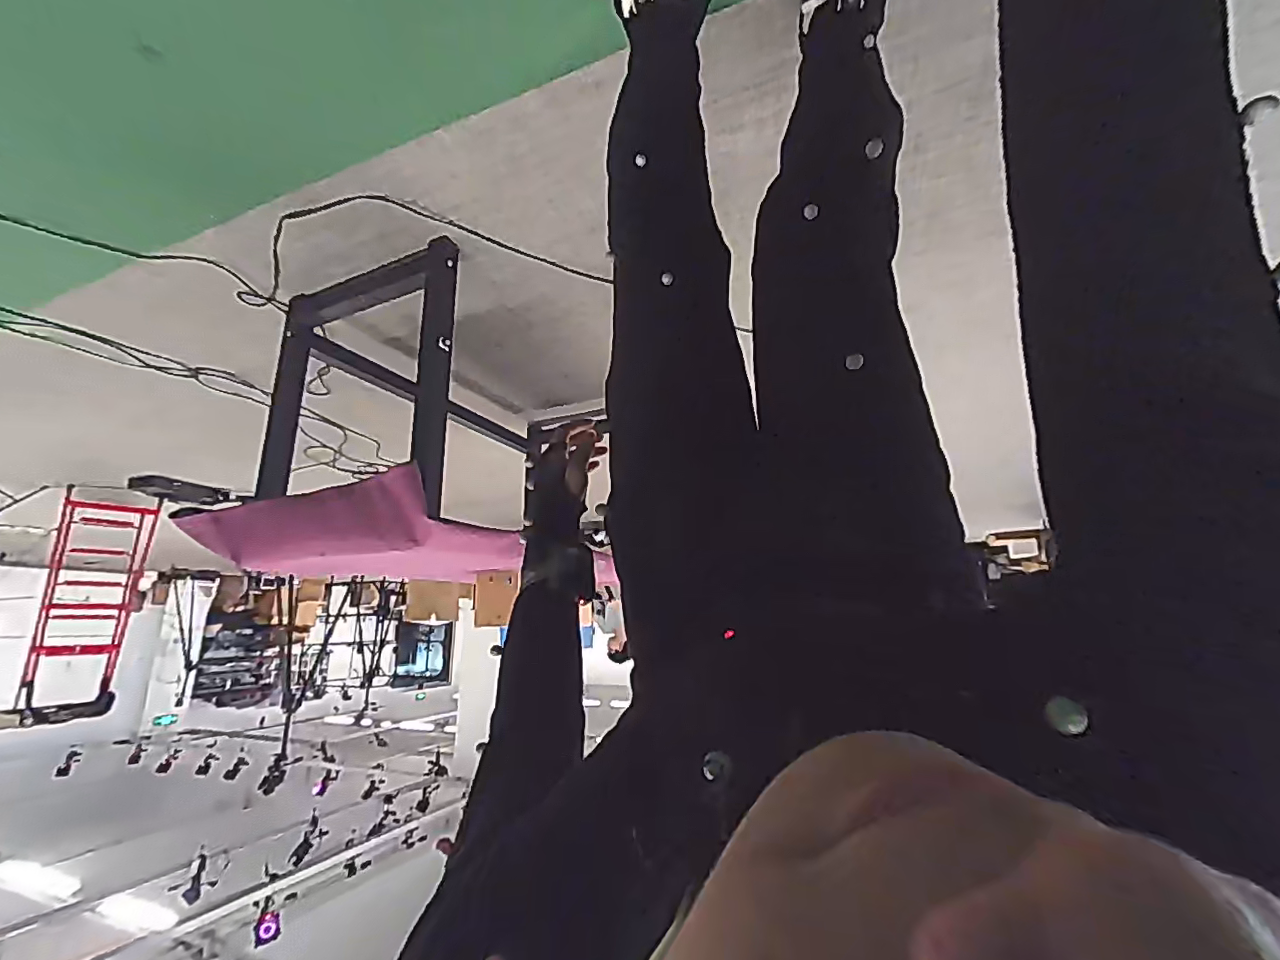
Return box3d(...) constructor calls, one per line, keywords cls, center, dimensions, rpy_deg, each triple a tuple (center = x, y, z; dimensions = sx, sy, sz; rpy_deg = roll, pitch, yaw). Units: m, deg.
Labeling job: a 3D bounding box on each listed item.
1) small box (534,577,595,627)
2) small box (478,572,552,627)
box3d(cls="small box", center=(-0.282, 0.453, 2.004), dimensions=(0.179, 0.176, 0.168), rpy_deg=(-8, 163, 24))
box3d(cls="small box", center=(-0.401, 0.386, 1.746), dimensions=(0.168, 0.176, 0.179), rpy_deg=(-7, 165, 24))
